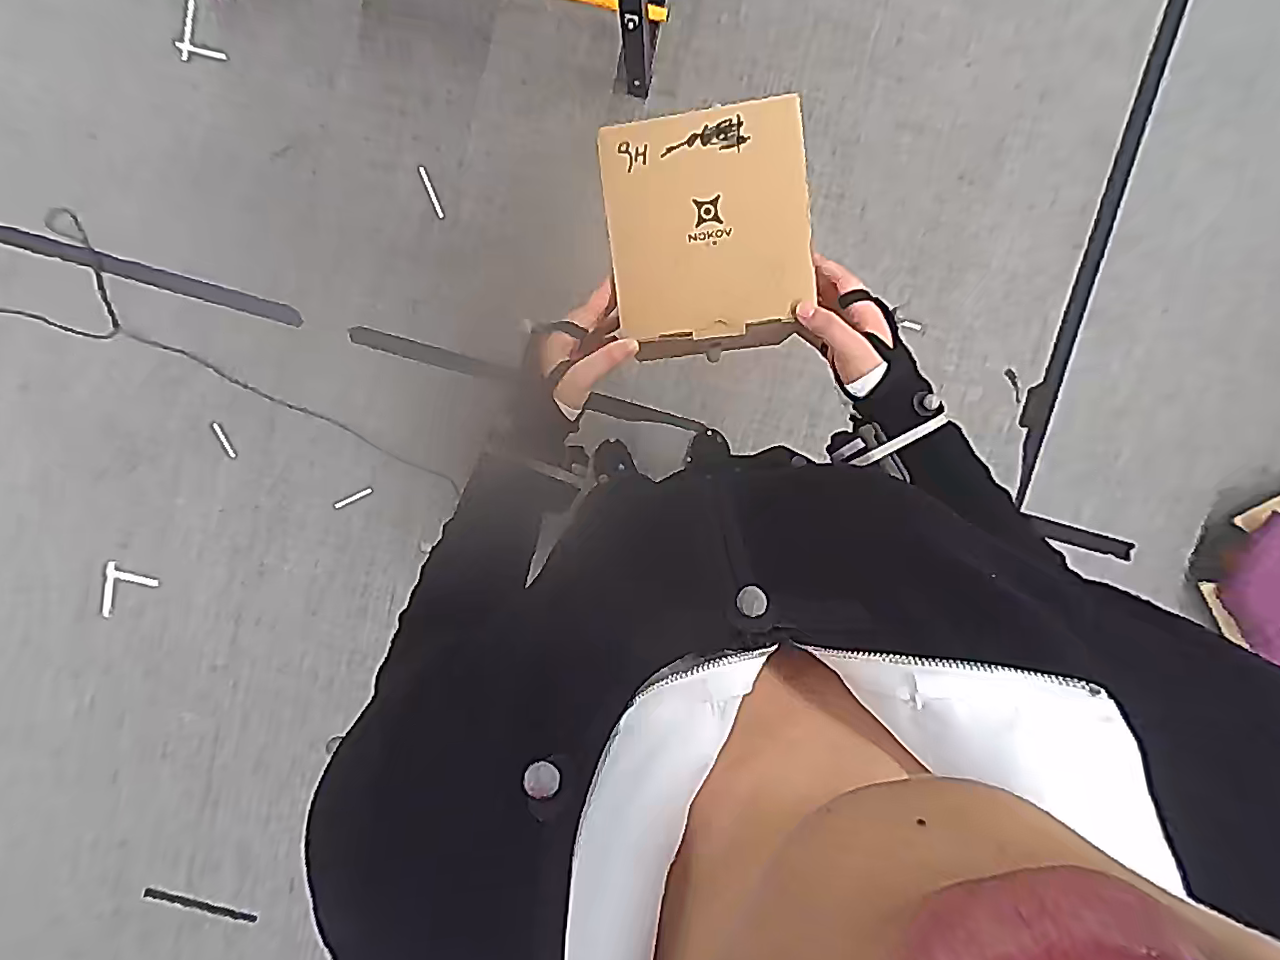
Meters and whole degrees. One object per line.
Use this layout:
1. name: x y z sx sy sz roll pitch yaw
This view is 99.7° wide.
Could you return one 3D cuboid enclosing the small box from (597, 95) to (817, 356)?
1. small box: 0.063 -0.217 0.517 0.168 0.176 0.179 -7 98 6
